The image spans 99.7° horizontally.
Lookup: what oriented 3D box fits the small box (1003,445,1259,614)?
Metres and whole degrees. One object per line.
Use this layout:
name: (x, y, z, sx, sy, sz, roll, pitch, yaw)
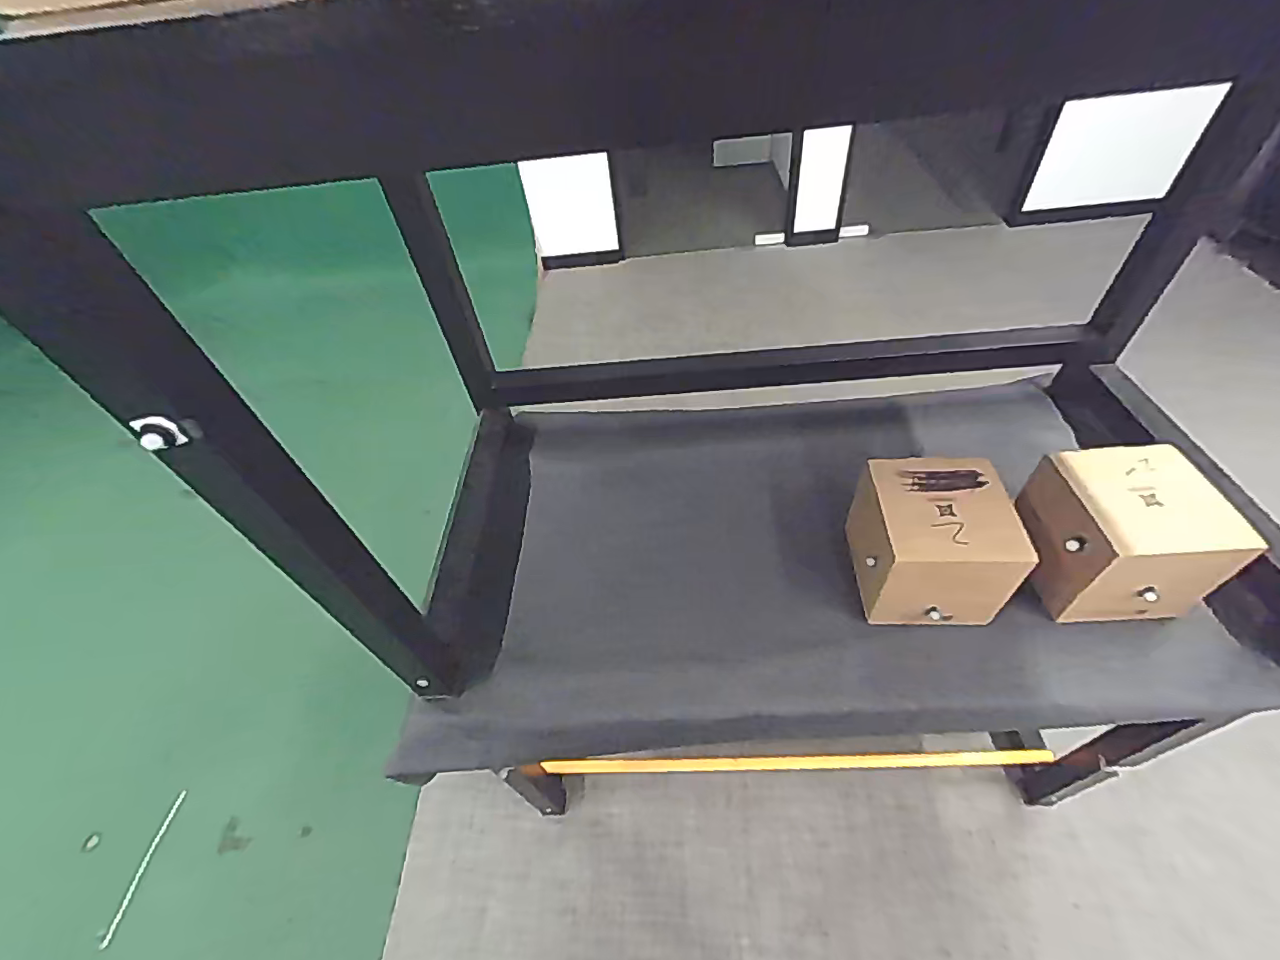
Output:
small box: (0.650, 0.075, 0.749, 0.168, 0.176, 0.179, -4, 47, 4)
